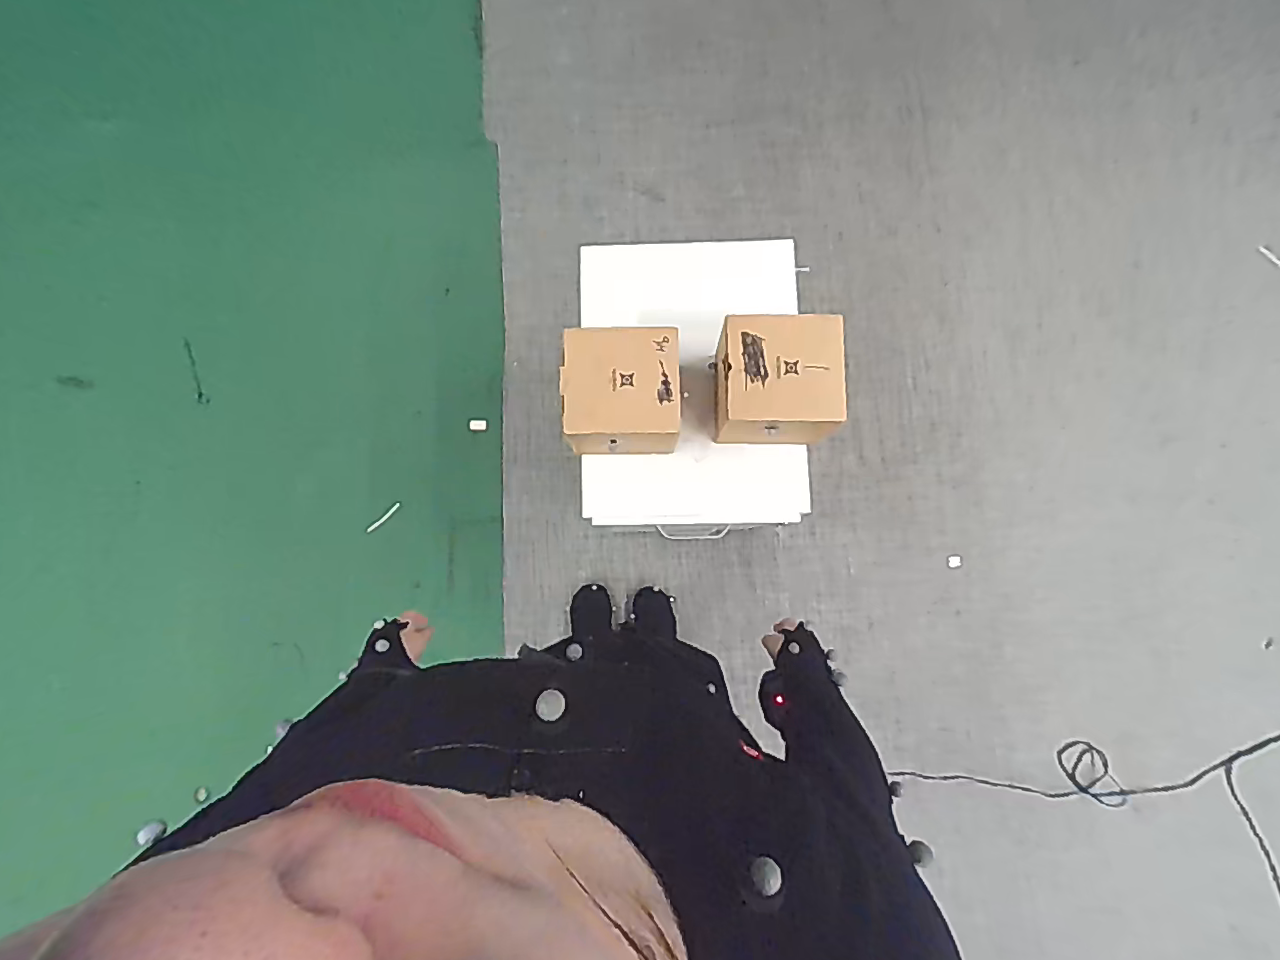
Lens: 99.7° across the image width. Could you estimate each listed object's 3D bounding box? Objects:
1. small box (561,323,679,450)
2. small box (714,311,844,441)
[{"bbox_3d":[-0.028,-0.143,0.882,0.179,0.176,0.168,-1,83,0],"label":"small box"},{"bbox_3d":[0.216,-0.161,0.882,0.179,0.176,0.168,1,82,1],"label":"small box"}]
